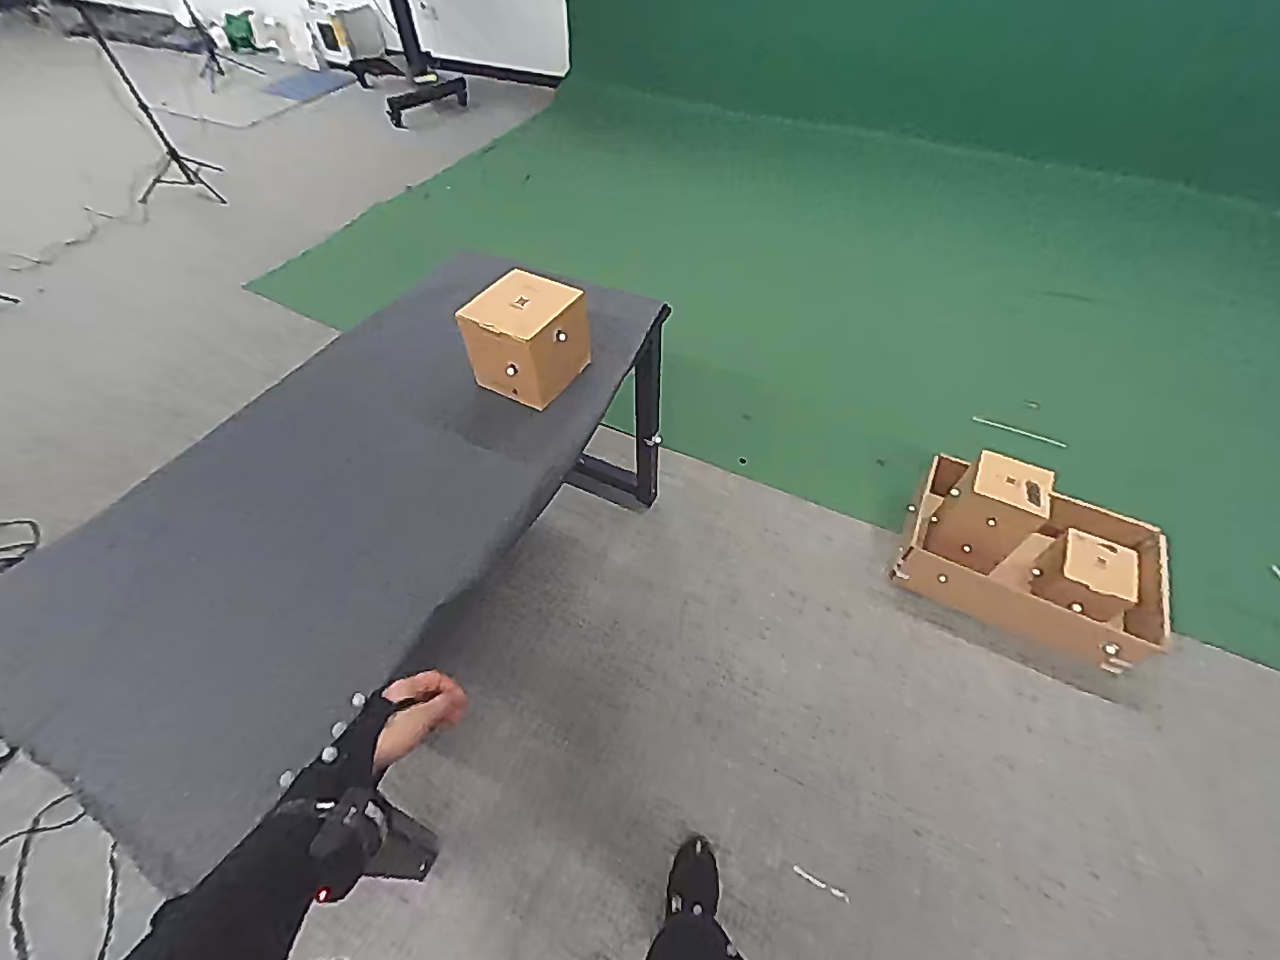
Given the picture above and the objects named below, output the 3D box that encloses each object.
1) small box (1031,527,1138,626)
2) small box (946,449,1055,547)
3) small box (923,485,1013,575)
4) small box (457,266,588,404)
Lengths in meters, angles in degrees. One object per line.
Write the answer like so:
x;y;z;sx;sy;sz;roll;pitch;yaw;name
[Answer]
1.207;0.268;1.477;0.168;0.176;0.179;24;57;19;small box
0.950;0.053;1.431;0.179;0.176;0.168;24;56;17;small box
0.951;0.150;1.564;0.179;0.176;0.168;24;57;16;small box
-0.212;-0.275;1.035;0.168;0.176;0.179;25;55;18;small box
